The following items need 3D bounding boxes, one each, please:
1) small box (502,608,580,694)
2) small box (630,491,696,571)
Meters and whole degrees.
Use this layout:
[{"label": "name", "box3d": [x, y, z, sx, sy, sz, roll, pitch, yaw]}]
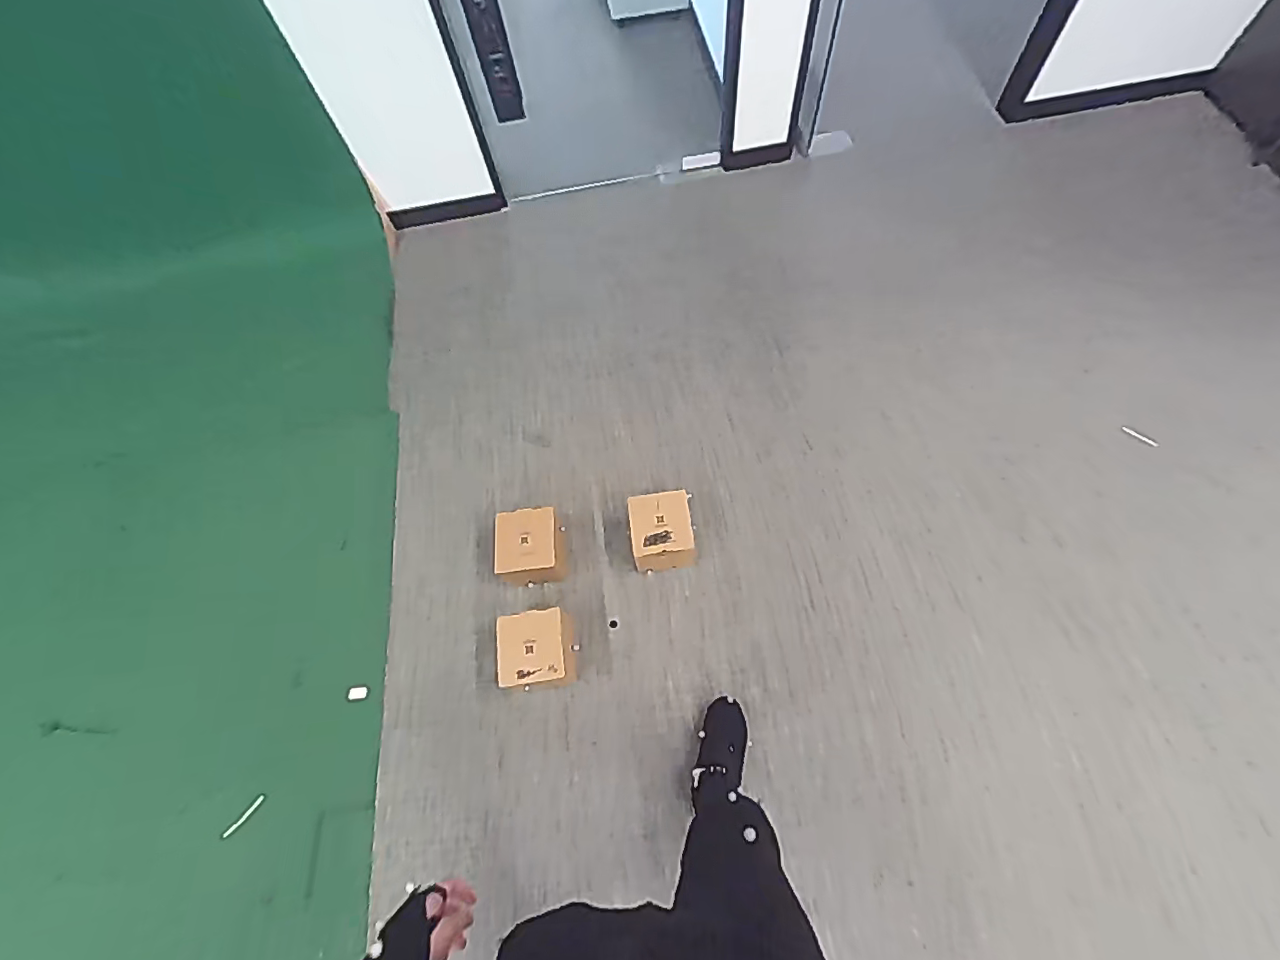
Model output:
[{"label": "small box", "box3d": [-0.256, 0.451, 1.418, 0.168, 0.176, 0.179, -9, 63, 2]}, {"label": "small box", "box3d": [0.068, 0.151, 1.526, 0.168, 0.176, 0.179, -8, 64, 2]}]
